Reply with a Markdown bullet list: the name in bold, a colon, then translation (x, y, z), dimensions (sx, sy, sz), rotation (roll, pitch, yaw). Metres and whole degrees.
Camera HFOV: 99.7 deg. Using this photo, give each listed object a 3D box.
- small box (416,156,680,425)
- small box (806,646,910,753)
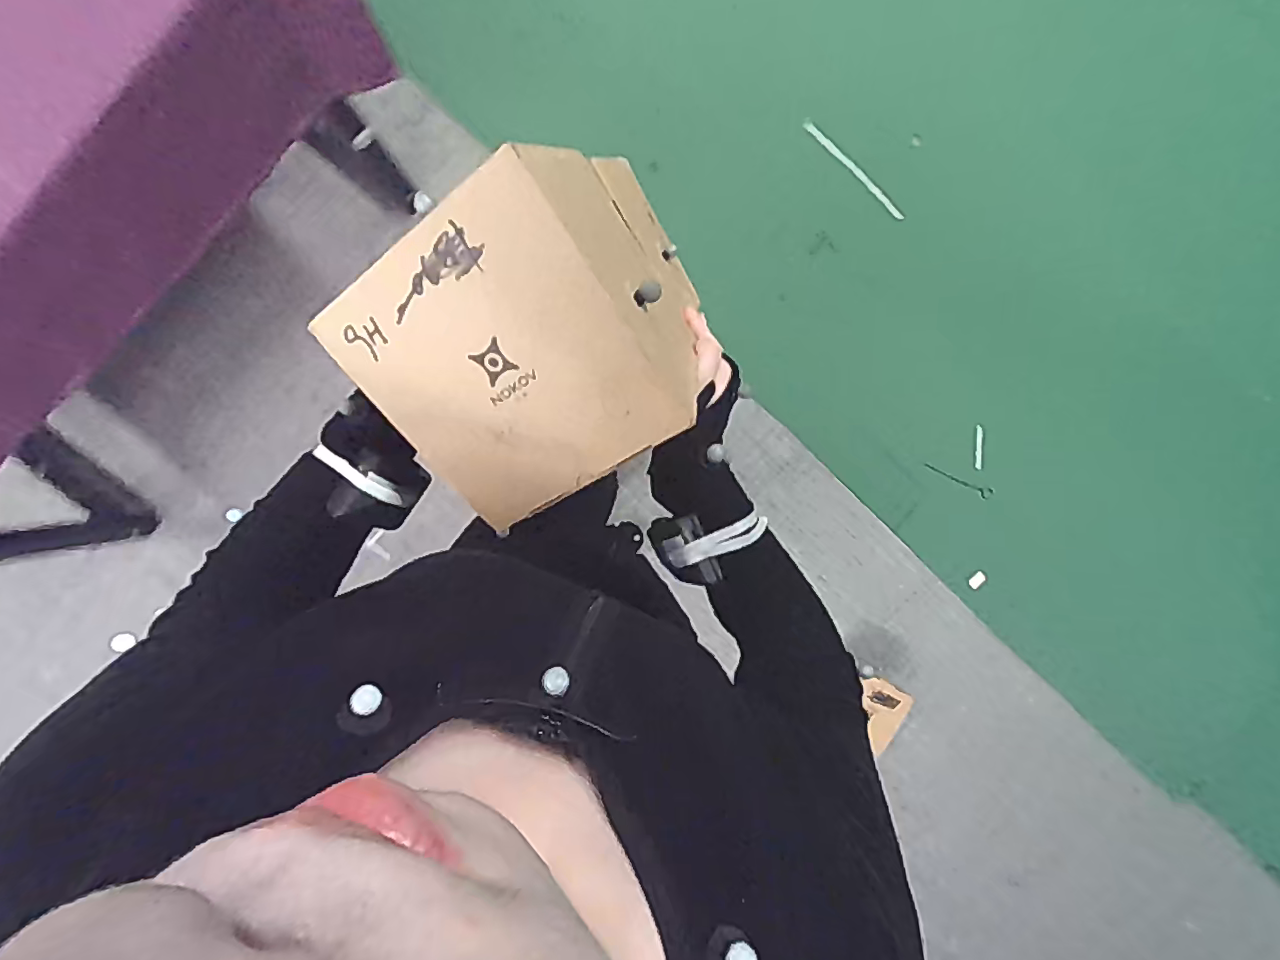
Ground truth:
- **small box**: translation (-0.072, -0.188, 0.534), dimensions (0.179, 0.176, 0.168), rotation (-26, 115, 20)
- **small box**: translation (0.574, 0.579, 1.453), dimensions (0.168, 0.176, 0.179), rotation (32, 92, -3)
